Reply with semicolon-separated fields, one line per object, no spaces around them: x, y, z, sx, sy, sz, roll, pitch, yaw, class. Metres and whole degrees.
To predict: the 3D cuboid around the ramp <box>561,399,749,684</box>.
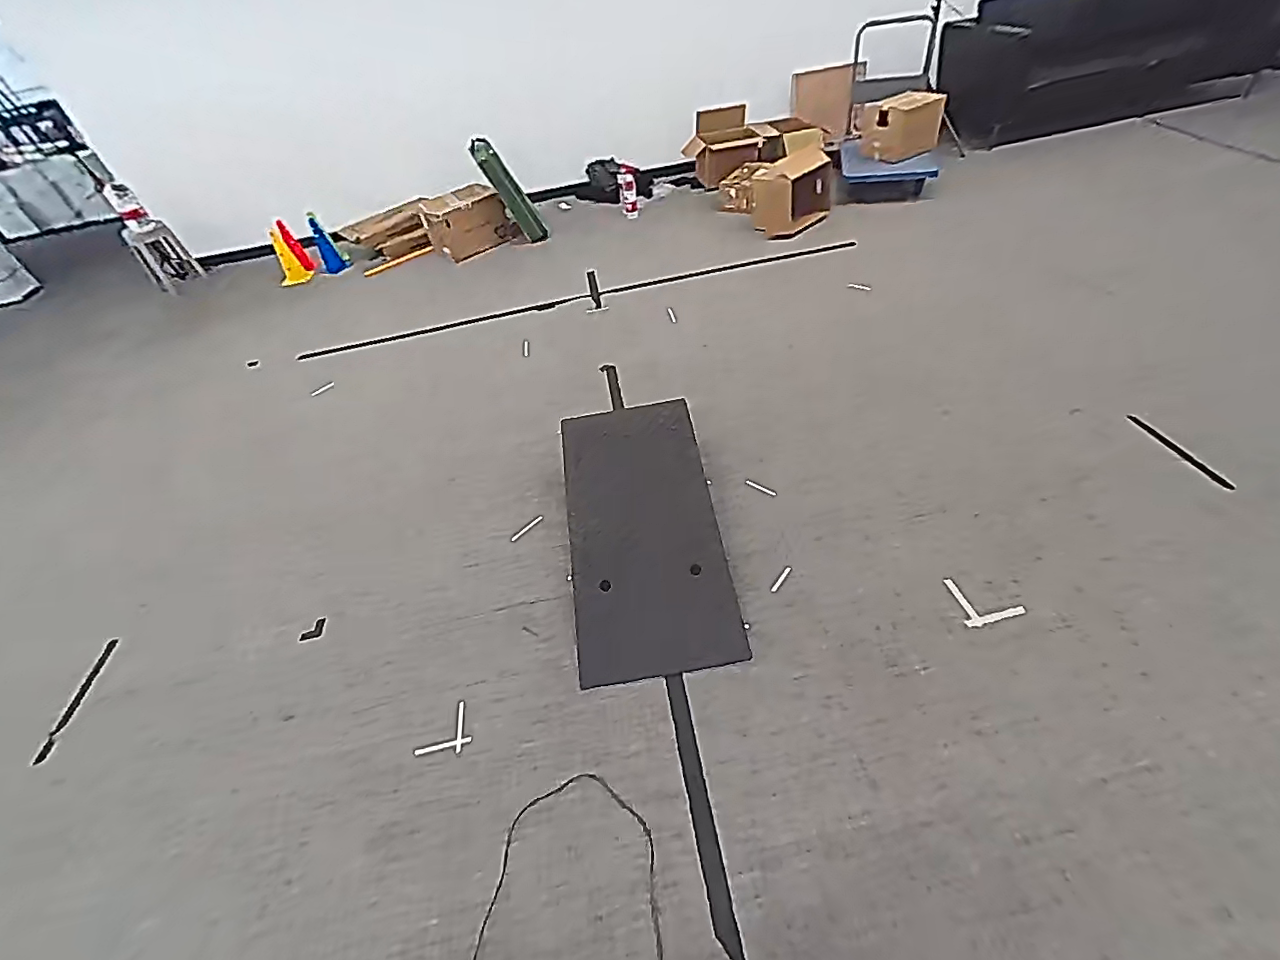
0.005;0.134;1.802;0.509;0.206;0.991;-10;45;-2;ramp
